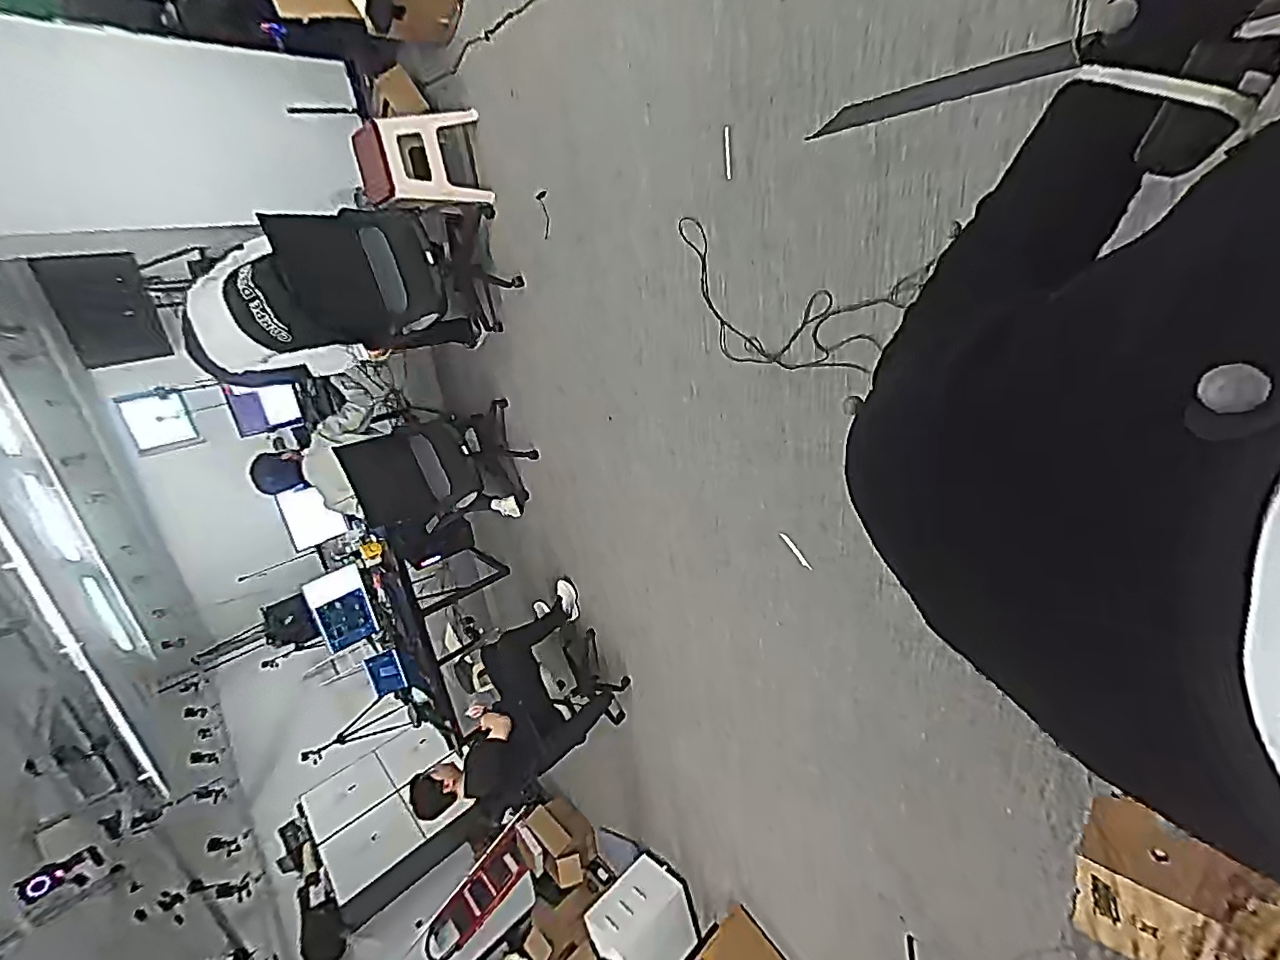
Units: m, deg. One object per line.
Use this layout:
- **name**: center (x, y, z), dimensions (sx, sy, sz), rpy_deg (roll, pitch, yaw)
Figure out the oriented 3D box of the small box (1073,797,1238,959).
- **small box**: center (0.862, 0.678, 0.909), dimensions (0.179, 0.176, 0.168), rpy_deg (7, 113, 49)
